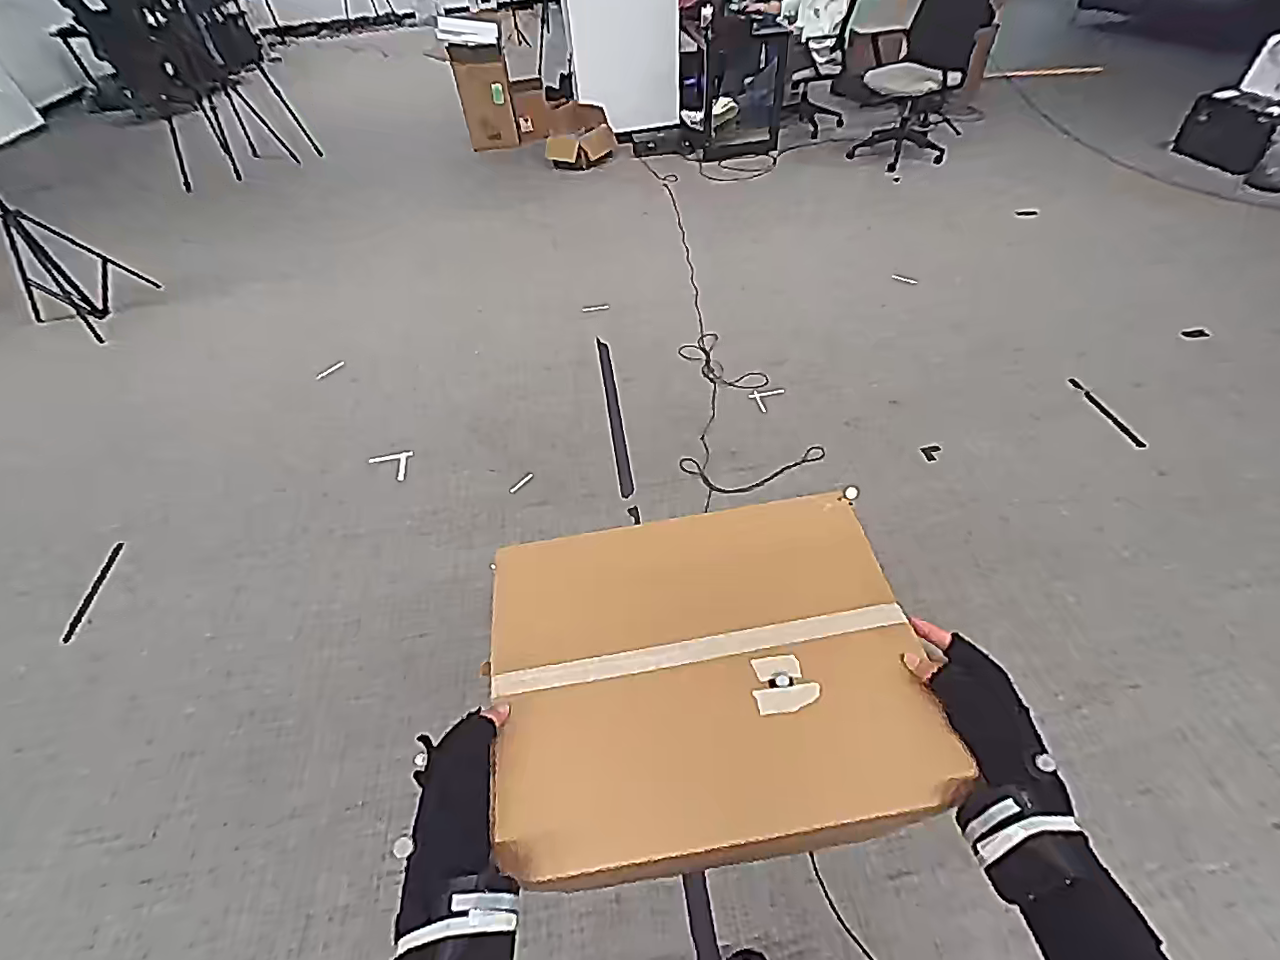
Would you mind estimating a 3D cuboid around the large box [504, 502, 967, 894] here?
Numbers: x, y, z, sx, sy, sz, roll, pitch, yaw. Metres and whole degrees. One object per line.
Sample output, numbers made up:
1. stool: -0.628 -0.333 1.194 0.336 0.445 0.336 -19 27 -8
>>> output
1. large box: 0.071 0.269 0.656 0.408 0.320 0.320 -10 52 -2
